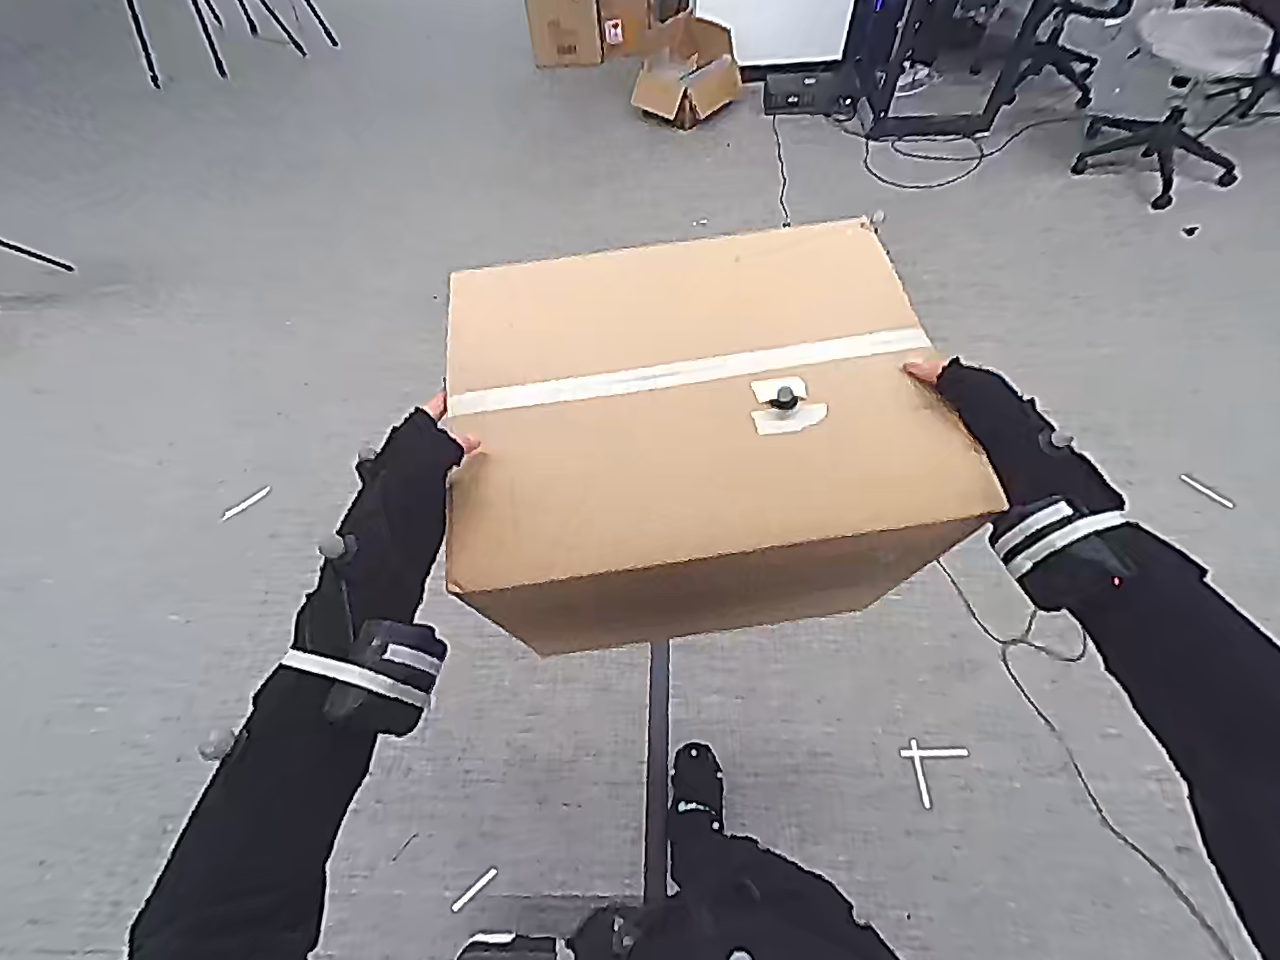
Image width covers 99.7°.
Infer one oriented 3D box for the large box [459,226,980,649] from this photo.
[{"bbox_3d":[0.046,-0.023,0.600,0.408,0.320,0.320,-9,65,-2],"label":"large box"}]
